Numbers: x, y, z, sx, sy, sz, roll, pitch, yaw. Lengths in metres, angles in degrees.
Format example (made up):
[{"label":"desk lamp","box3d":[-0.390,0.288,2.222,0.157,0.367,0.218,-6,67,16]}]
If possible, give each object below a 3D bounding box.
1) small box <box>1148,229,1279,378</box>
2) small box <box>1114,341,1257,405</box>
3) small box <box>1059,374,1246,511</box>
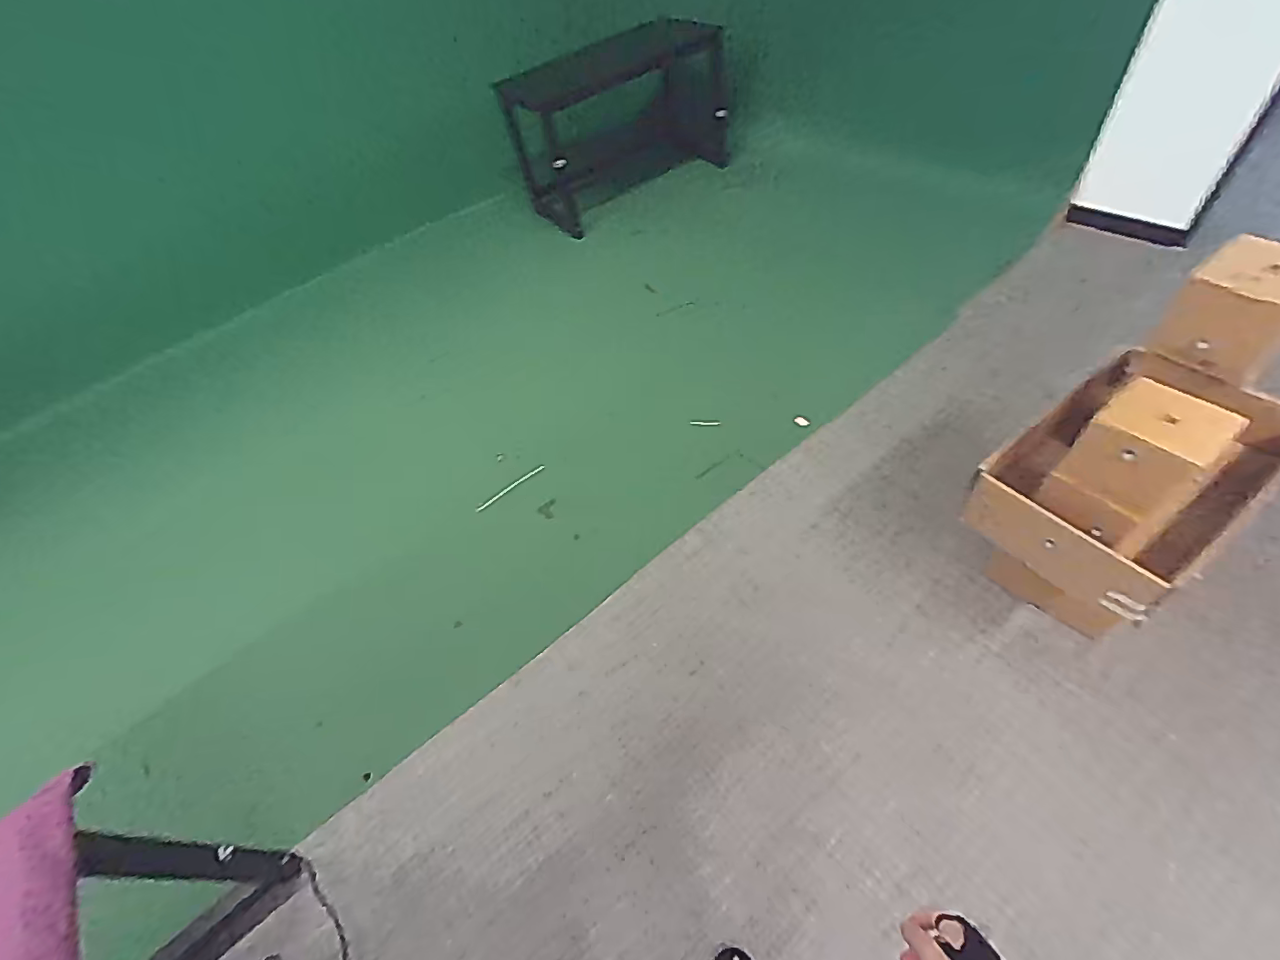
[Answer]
[{"label":"small box","box3d":[1.108,-0.324,0.998,0.179,0.176,0.168,-34,52,-12]},{"label":"small box","box3d":[1.151,-0.236,1.132,0.179,0.176,0.168,-40,55,-17]},{"label":"small box","box3d":[0.968,-0.065,1.040,0.168,0.176,0.179,-35,53,-17]}]
